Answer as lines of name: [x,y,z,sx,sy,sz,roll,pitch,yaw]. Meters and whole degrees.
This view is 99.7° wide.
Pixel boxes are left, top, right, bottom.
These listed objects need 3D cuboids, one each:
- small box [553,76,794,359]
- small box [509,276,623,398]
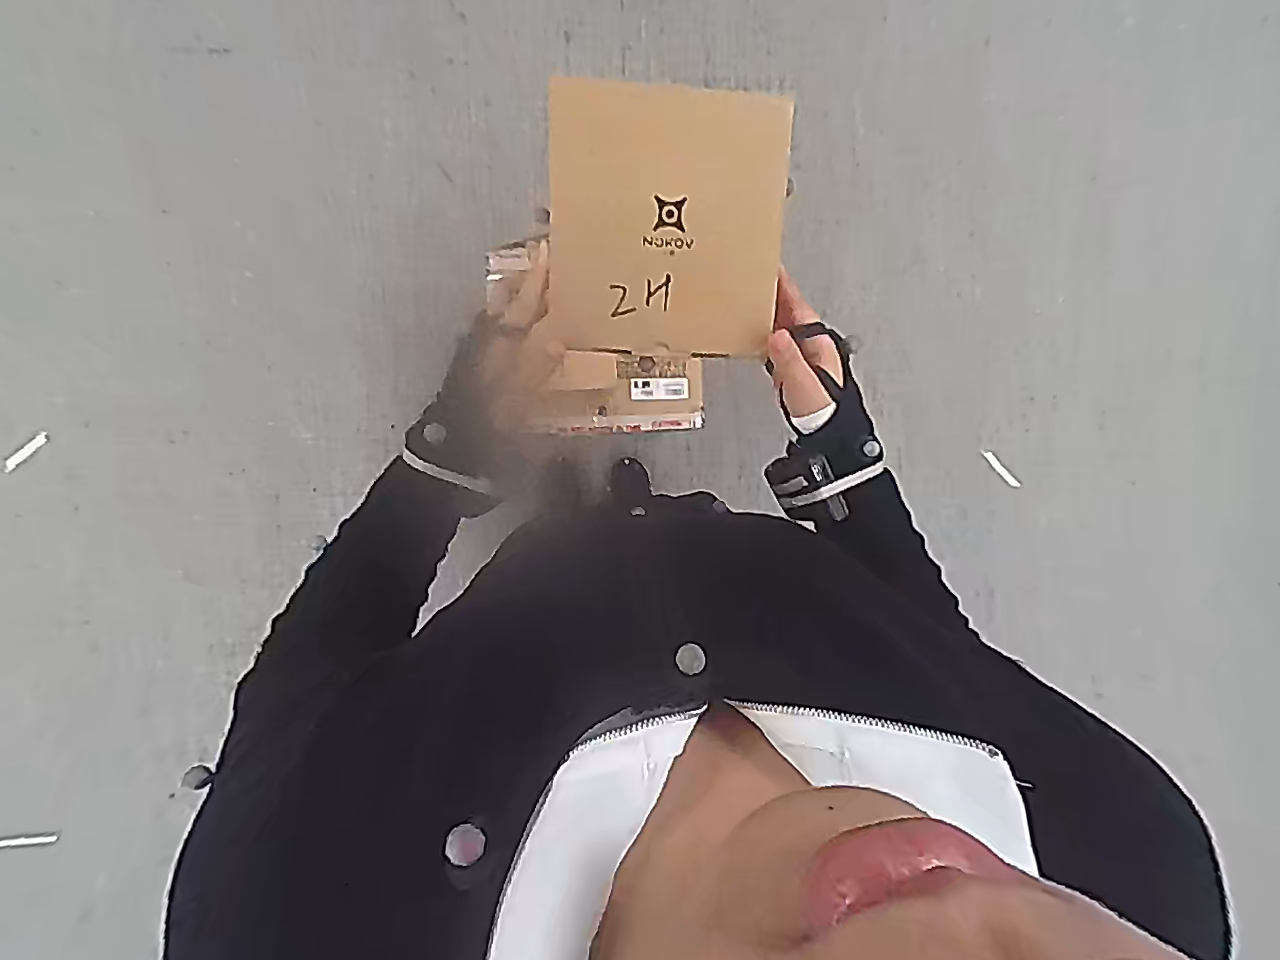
small box: [0.015,-0.196,0.456,0.168,0.176,0.179,1,103,-5]
small box: [-0.118,-0.230,0.899,0.168,0.176,0.179,-4,98,-4]
